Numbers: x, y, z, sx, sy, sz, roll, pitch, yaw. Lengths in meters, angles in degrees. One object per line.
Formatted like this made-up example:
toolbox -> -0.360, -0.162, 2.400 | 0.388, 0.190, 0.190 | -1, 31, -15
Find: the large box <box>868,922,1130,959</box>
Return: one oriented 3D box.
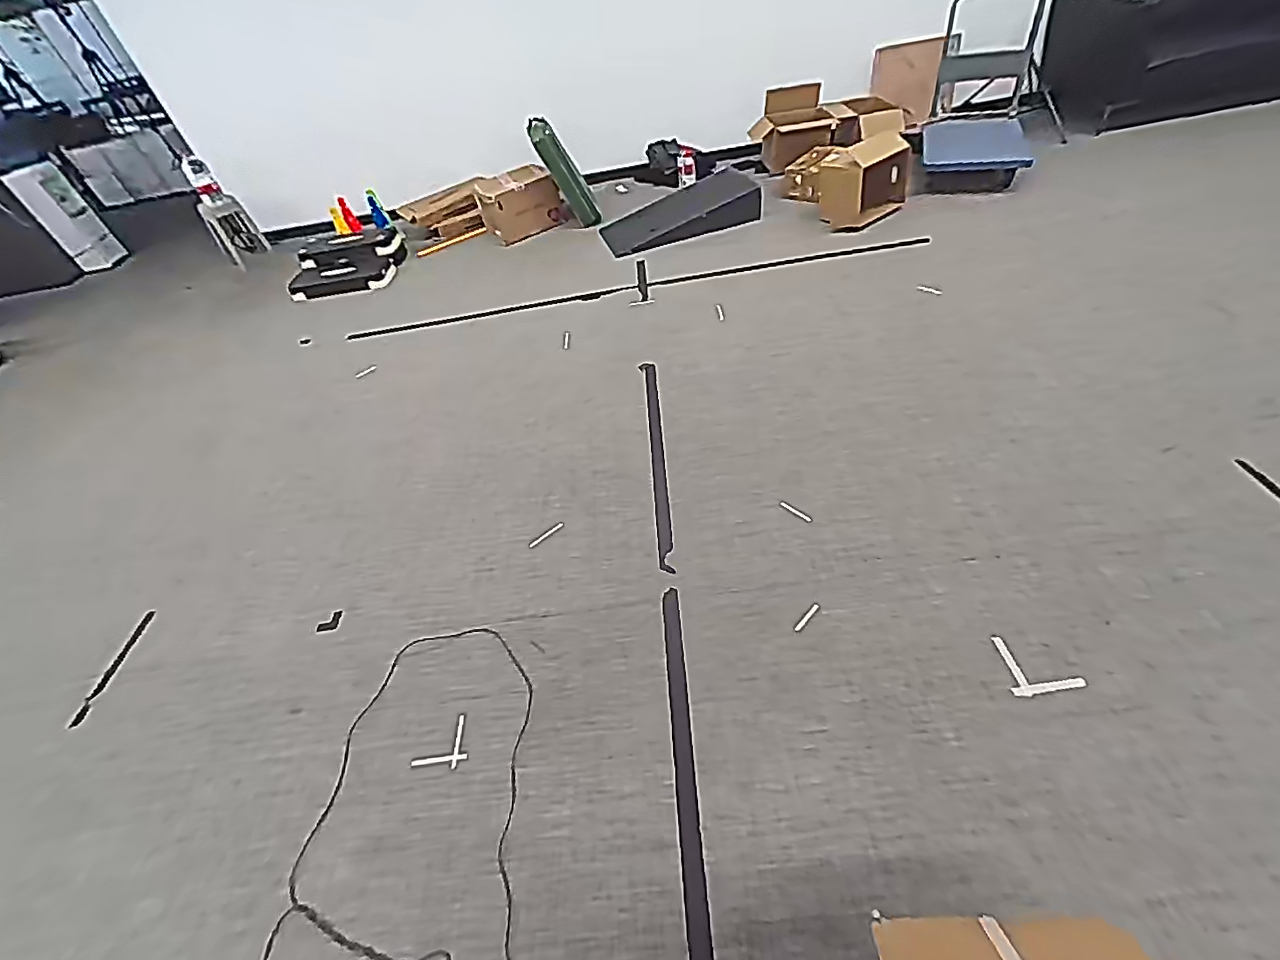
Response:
large box -> 0.466, 0.755, 0.550 | 0.320, 0.408, 0.320 | -8, 80, 10
